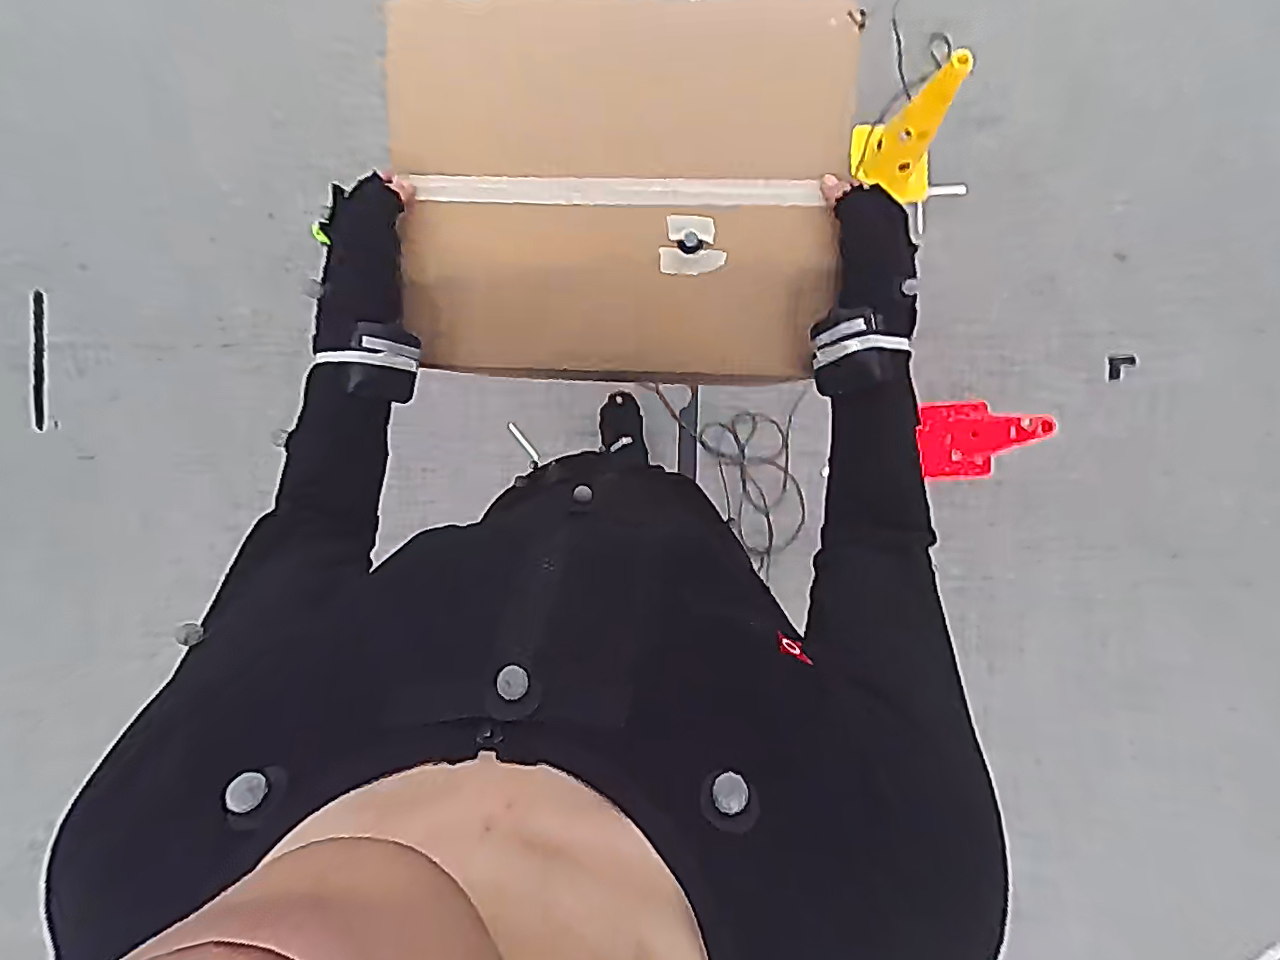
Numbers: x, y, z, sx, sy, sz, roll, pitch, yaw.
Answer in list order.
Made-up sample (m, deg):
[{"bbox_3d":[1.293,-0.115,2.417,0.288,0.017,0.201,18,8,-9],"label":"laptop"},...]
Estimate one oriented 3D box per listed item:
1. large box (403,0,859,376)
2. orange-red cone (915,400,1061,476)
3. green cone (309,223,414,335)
[{"bbox_3d":[-0.011,-0.288,0.635,0.408,0.320,0.320,2,99,1],"label":"large box"},{"bbox_3d":[0.819,-0.114,1.246,0.198,0.360,0.199,-2,88,1],"label":"orange-red cone"},{"bbox_3d":[-0.660,-0.527,1.310,0.202,0.368,0.200,-37,87,3],"label":"green cone"}]
